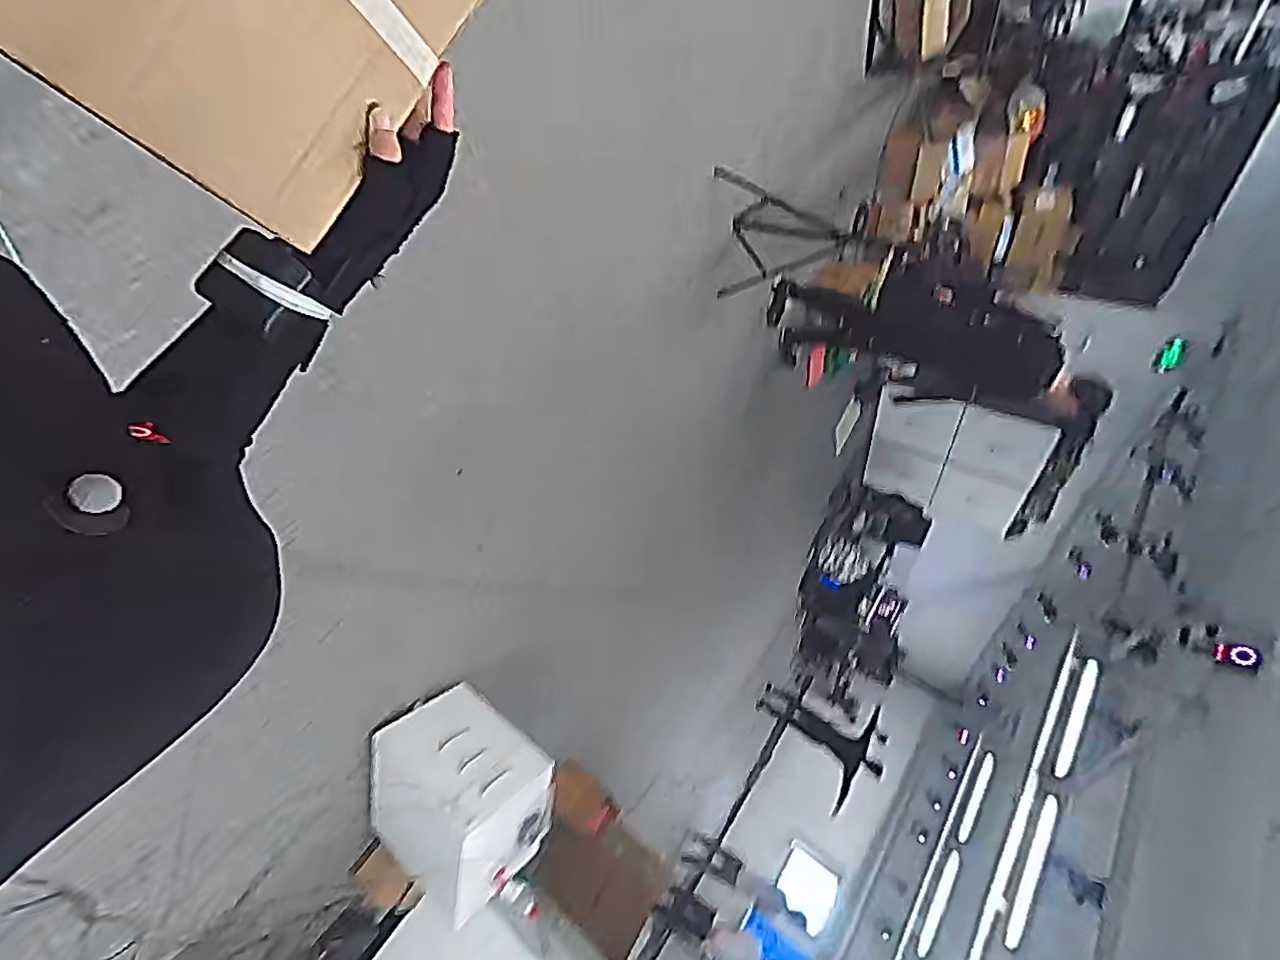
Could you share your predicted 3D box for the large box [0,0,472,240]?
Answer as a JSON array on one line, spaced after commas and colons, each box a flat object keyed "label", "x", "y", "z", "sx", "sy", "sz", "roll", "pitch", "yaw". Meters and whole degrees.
[{"label": "large box", "x": -0.357, "y": -0.427, "z": 0.316, "sx": 0.320, "sy": 0.320, "sz": 0.408, "roll": -56, "pitch": 146, "yaw": 1}]
